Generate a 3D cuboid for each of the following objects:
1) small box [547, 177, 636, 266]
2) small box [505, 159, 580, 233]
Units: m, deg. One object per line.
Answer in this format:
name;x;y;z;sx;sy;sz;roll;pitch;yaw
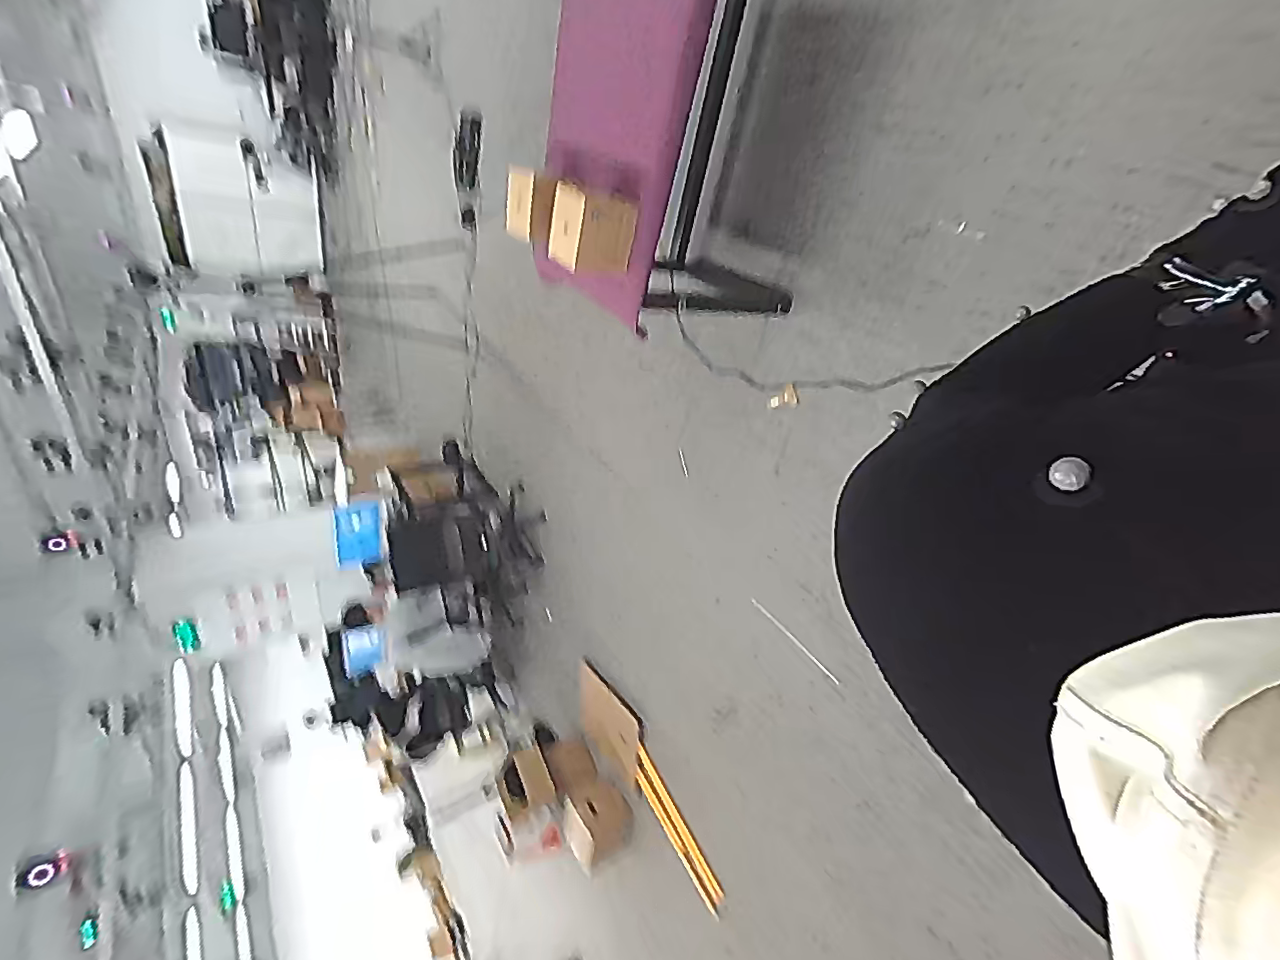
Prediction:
small box;-0.130;-0.693;1.460;0.168;0.176;0.179;46;132;39
small box;-0.295;-0.852;1.639;0.168;0.176;0.179;40;130;40
